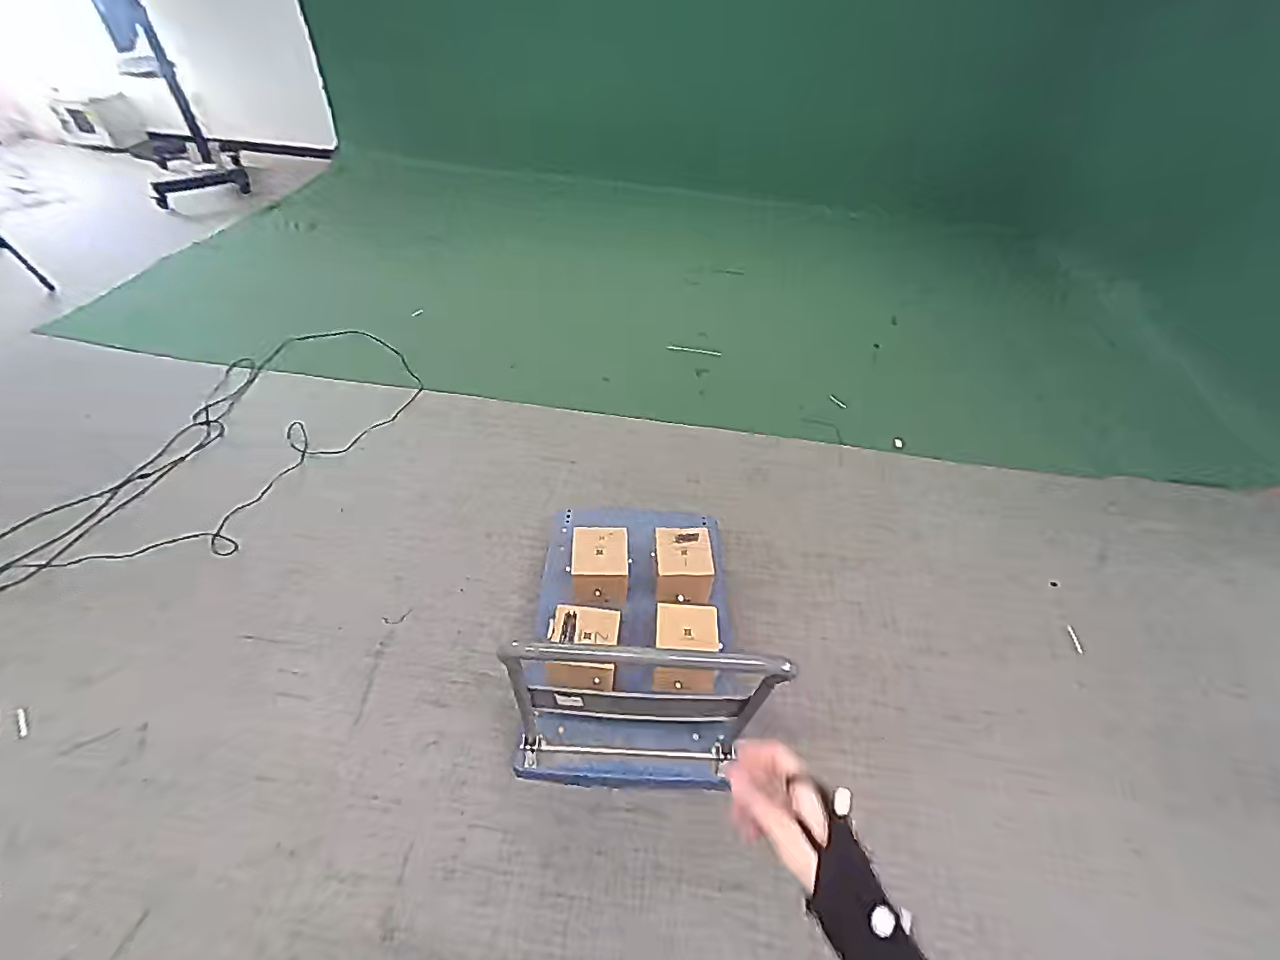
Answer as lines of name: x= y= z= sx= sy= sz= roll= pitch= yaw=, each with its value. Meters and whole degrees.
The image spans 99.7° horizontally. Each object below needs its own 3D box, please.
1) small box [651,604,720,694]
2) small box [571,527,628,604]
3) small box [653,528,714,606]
small box: x=0.120 y=0.465 z=1.486 sx=0.168 sy=0.176 sz=0.179 roll=5 pitch=47 yaw=-1
small box: x=-0.123 y=0.265 z=1.654 sx=0.168 sy=0.176 sz=0.179 roll=2 pitch=46 yaw=-4
small box: x=0.128 y=0.269 z=1.671 sx=0.168 sy=0.176 sz=0.179 roll=1 pitch=48 yaw=-3
